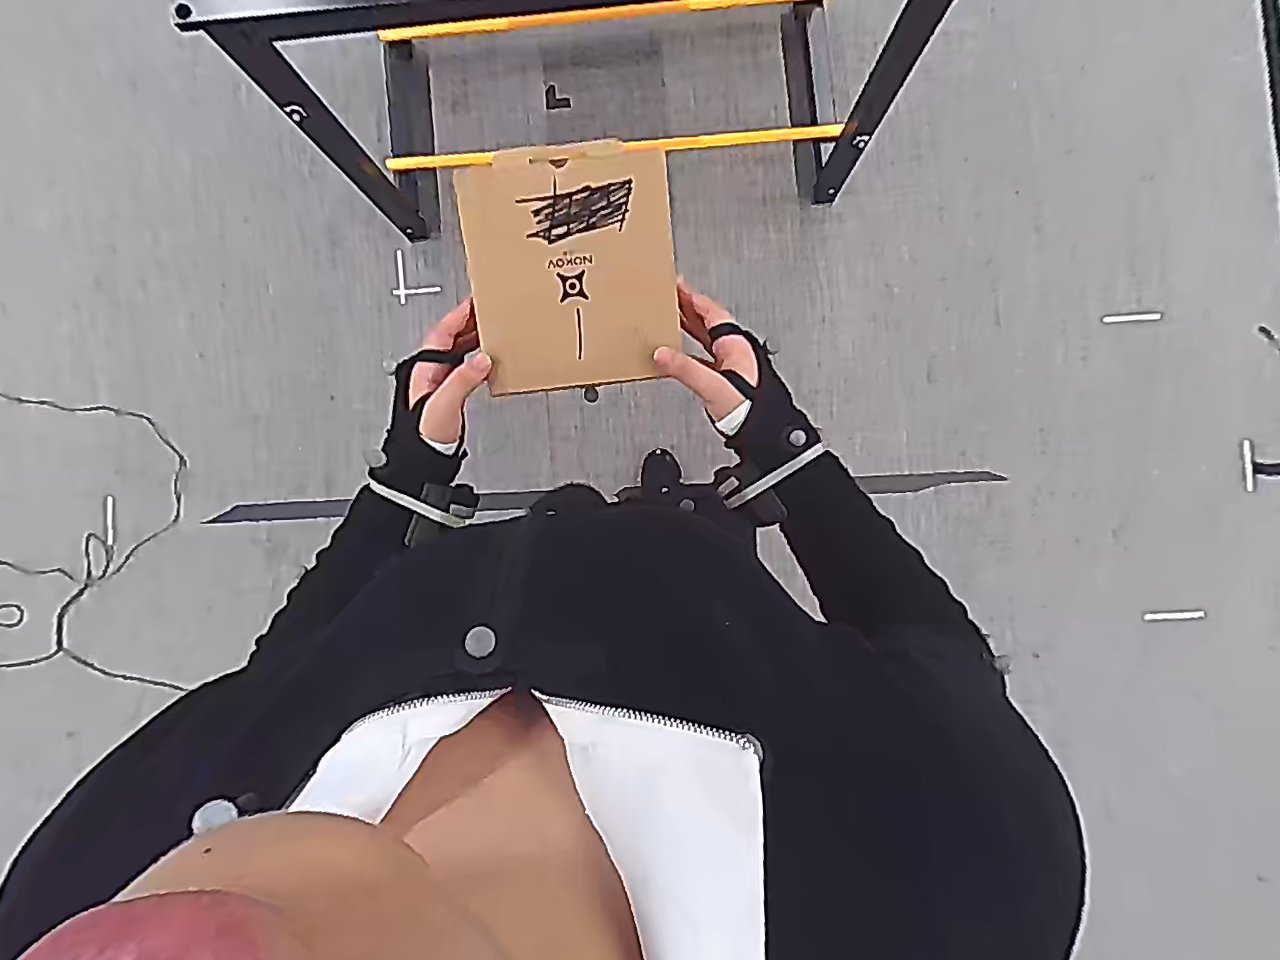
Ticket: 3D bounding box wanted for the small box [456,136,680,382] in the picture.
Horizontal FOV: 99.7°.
[{"bbox_3d":[-0.056,-0.188,0.512,0.168,0.176,0.179,-6,101,1],"label":"small box"}]
